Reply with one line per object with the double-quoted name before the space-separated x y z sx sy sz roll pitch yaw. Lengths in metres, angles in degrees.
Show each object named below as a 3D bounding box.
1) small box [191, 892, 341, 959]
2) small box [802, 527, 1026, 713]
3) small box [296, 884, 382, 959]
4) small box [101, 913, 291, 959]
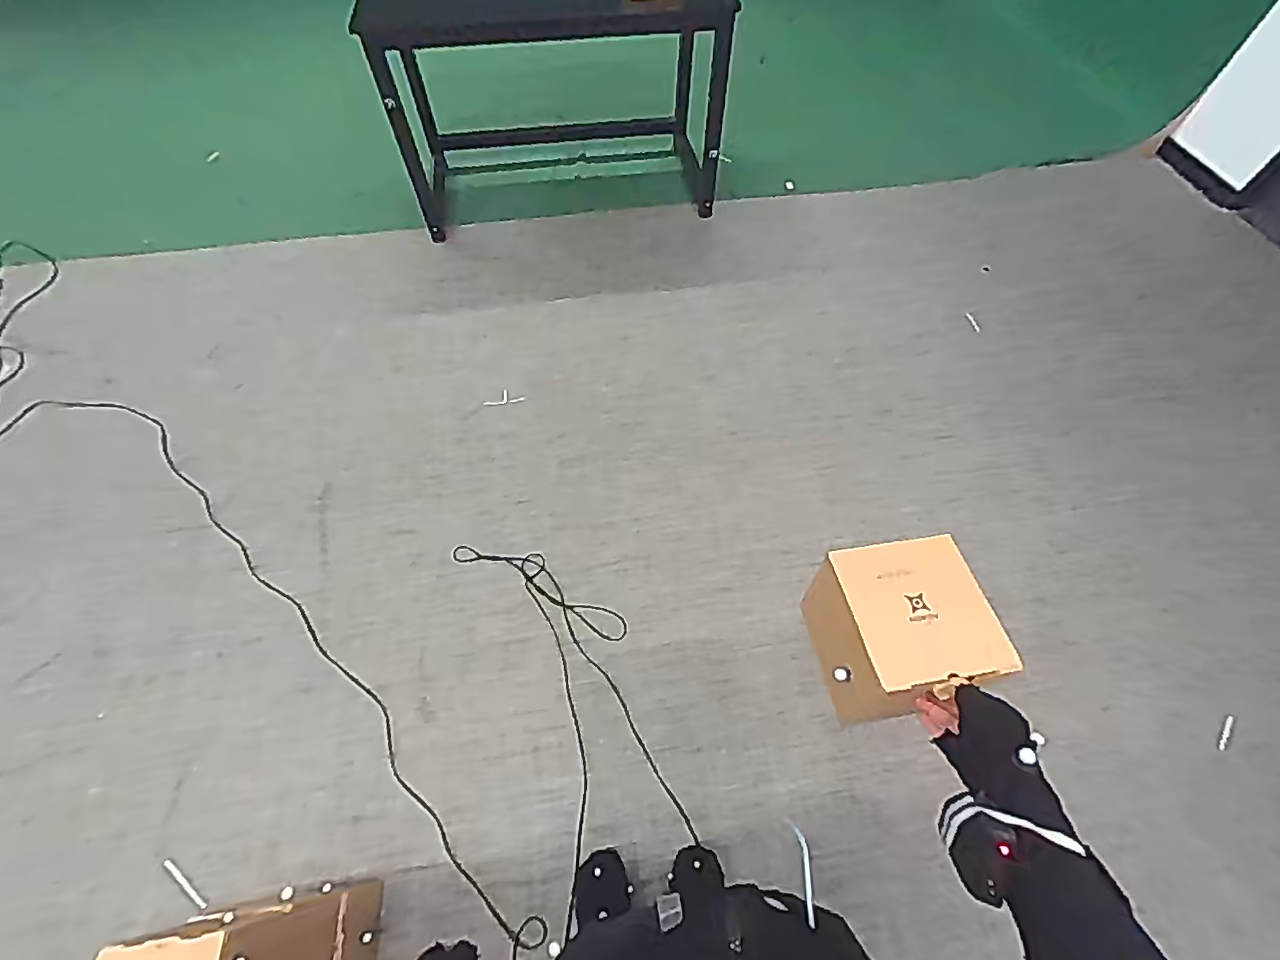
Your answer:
"small box" -0.624 0.809 0.892 0.168 0.176 0.179 -5 59 -3
"small box" 0.326 0.184 0.688 0.168 0.176 0.179 -8 54 -5
"small box" -0.617 0.893 1.034 0.179 0.176 0.168 -6 59 -4
"small box" -0.622 0.733 0.748 0.168 0.176 0.179 -6 59 -3
